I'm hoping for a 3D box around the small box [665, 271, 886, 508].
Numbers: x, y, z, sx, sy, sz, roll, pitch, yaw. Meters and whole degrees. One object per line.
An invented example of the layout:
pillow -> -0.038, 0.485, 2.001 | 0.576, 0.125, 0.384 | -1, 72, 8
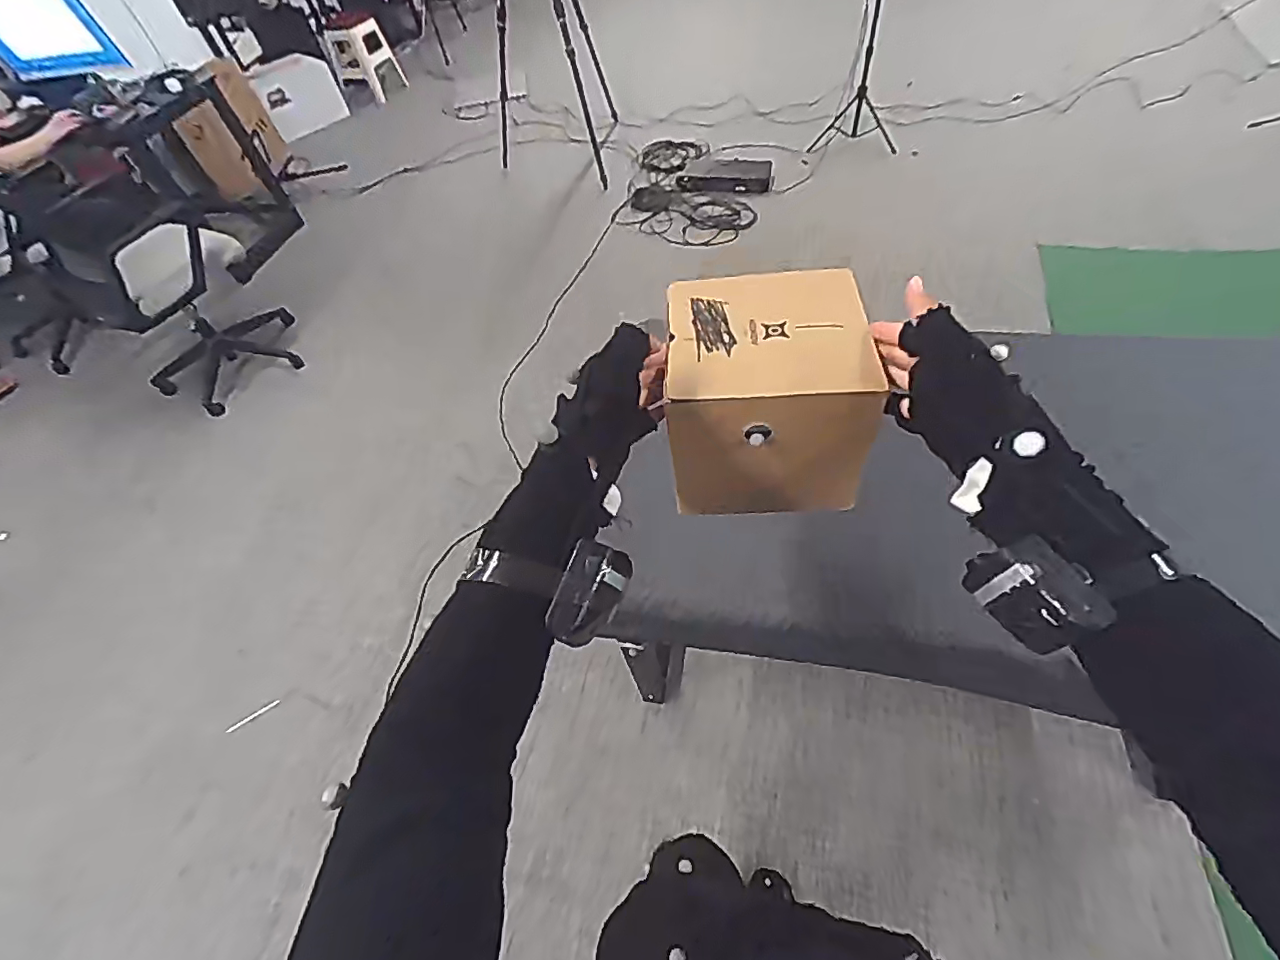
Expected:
small box -> 0.121, -0.082, 0.540 | 0.179, 0.176, 0.168 | -2, 53, 7
